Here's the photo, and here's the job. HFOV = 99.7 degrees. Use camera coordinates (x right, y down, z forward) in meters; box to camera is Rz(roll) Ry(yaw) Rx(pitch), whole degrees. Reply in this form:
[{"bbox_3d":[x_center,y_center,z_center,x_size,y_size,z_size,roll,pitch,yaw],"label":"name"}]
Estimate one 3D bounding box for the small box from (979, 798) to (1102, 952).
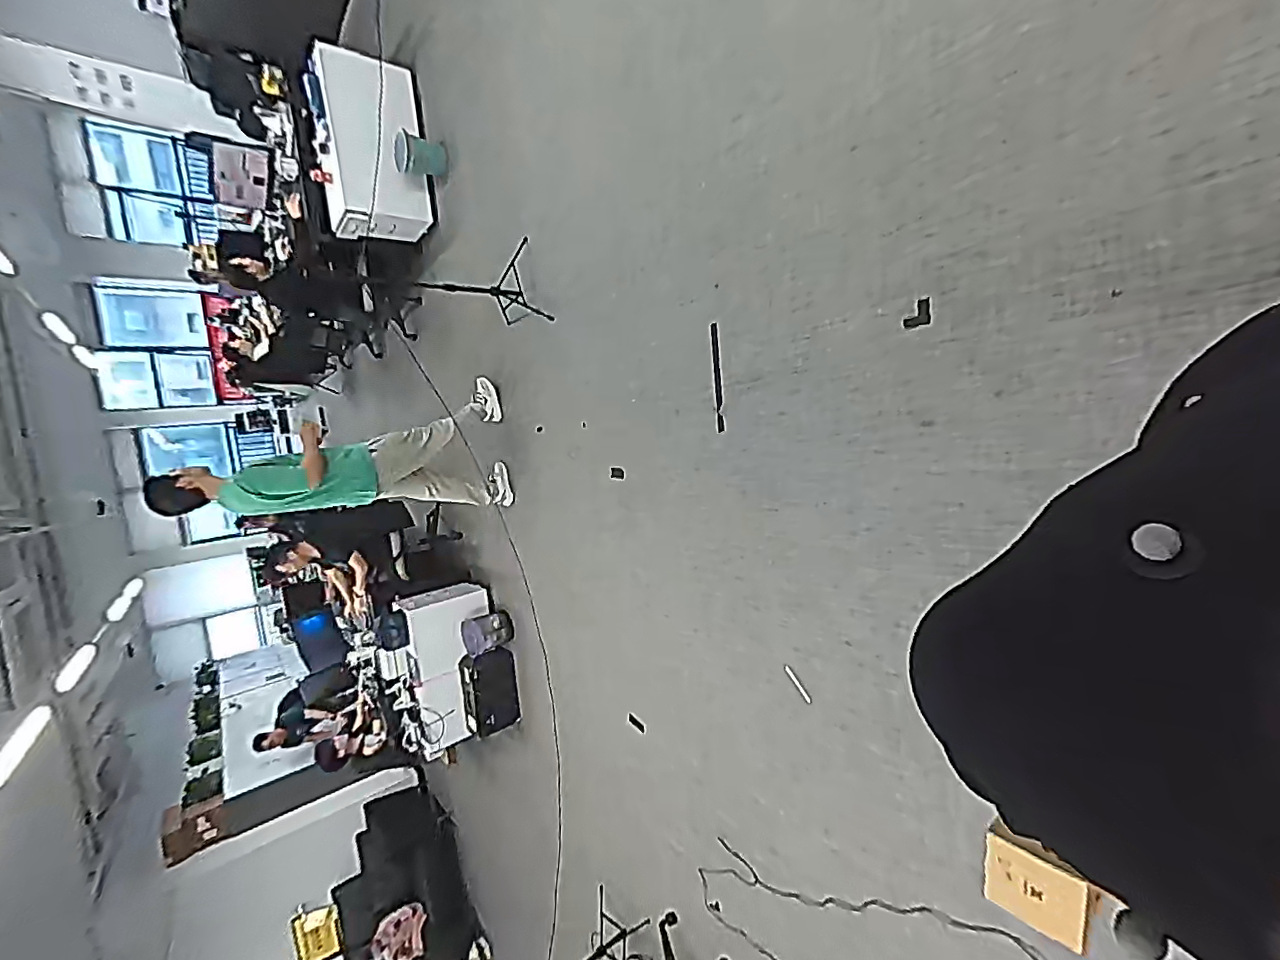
[{"bbox_3d":[0.864,0.833,1.164,0.179,0.176,0.168,9,105,51],"label":"small box"}]
